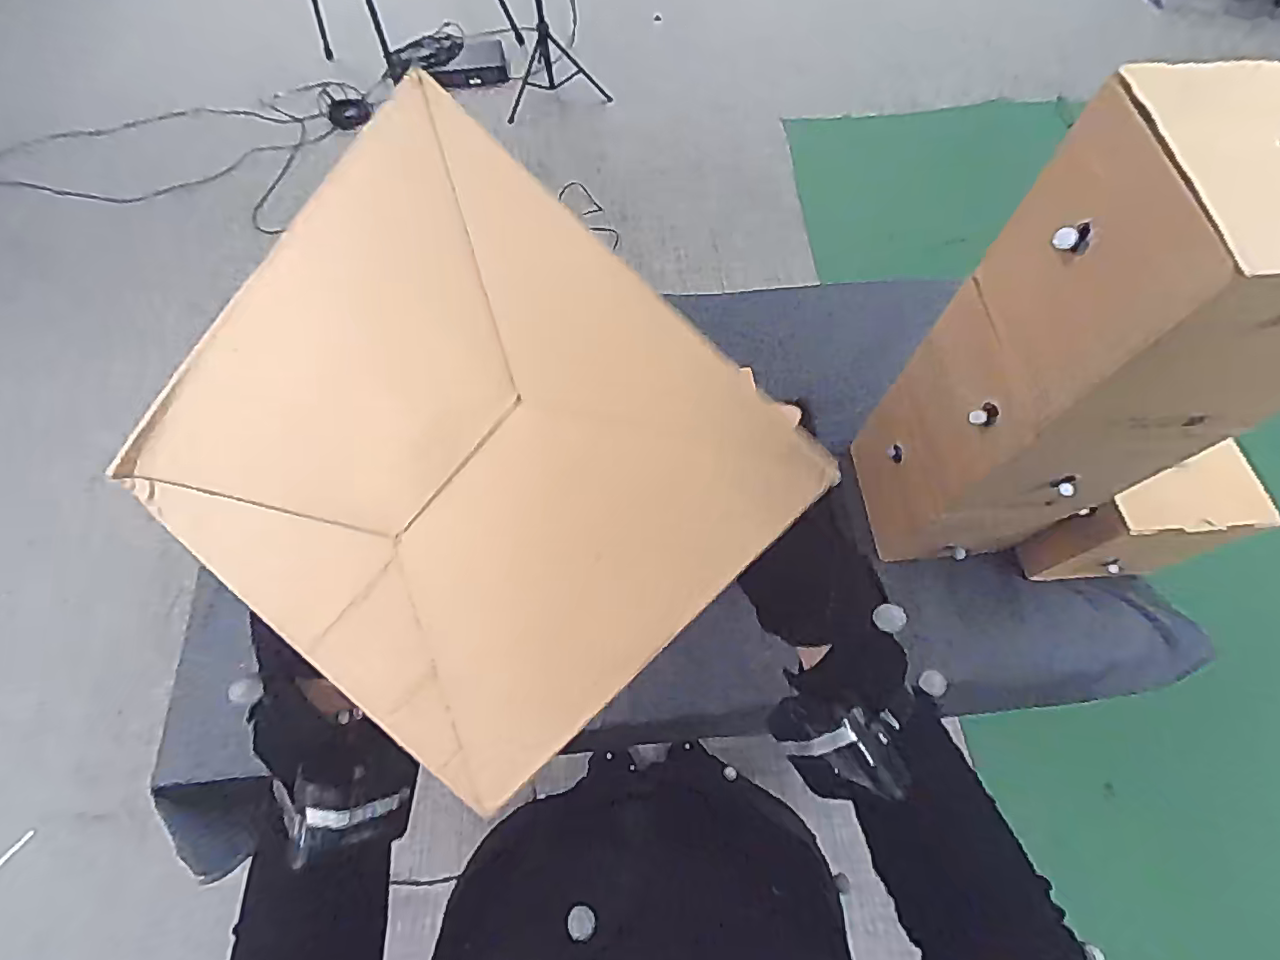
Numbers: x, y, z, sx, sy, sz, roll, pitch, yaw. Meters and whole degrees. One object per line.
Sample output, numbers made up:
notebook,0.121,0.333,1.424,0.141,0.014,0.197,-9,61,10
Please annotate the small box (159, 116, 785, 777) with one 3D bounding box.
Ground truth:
small box,-0.052,-0.010,0.256,0.179,0.176,0.168,44,96,-3

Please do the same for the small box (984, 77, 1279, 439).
small box,0.383,-0.145,0.381,0.168,0.176,0.179,-2,64,2

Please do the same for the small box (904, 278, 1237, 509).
small box,0.389,-0.076,0.530,0.168,0.176,0.179,-3,64,1
